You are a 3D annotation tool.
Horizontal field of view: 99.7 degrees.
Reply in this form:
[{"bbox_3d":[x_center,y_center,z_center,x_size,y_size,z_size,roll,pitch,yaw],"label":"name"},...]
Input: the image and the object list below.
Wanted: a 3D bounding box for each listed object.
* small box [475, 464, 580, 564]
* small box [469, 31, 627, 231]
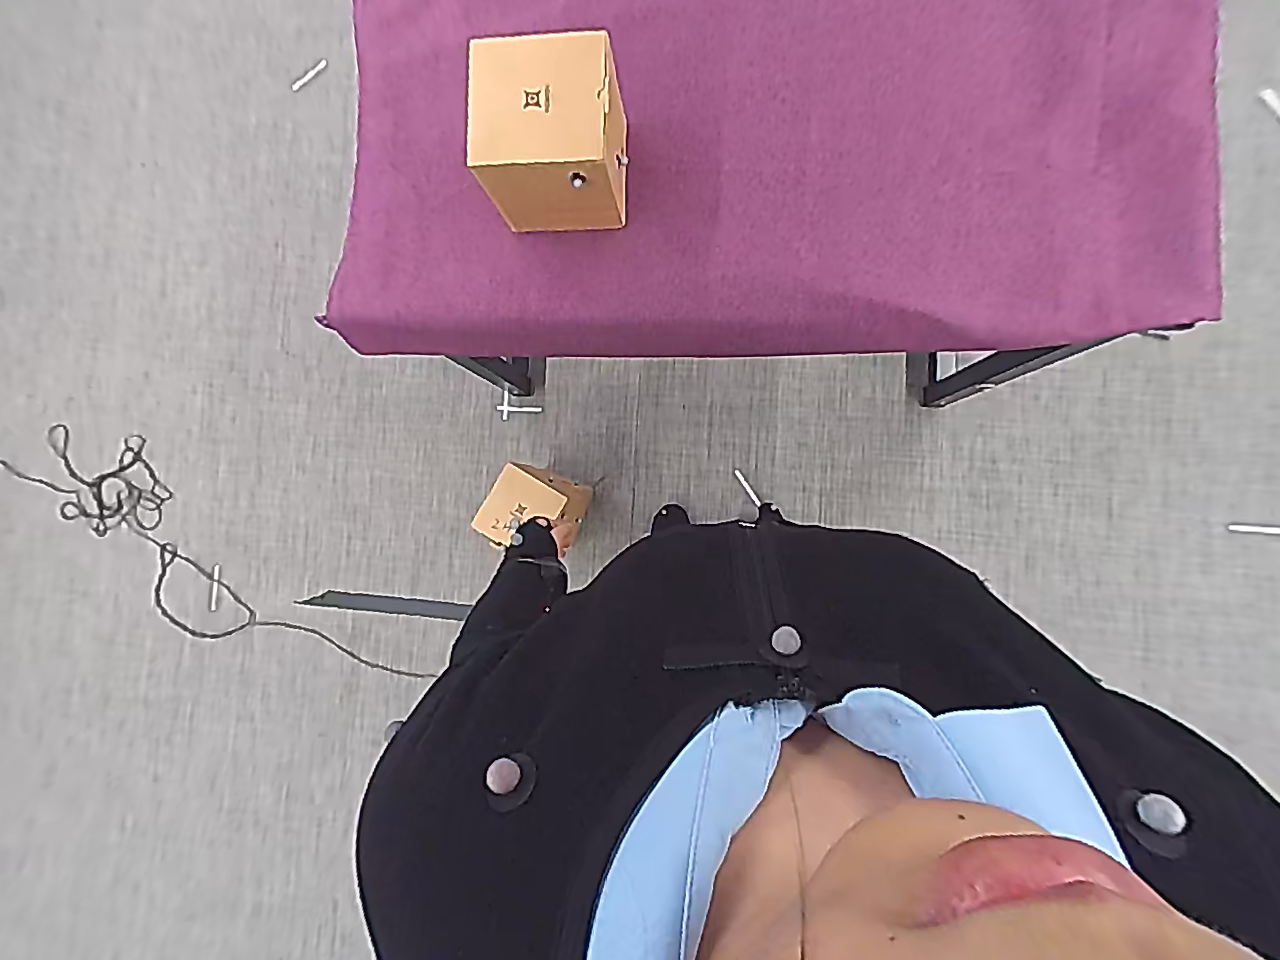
[{"bbox_3d":[-0.260,0.078,1.302,0.168,0.176,0.179,31,92,6],"label":"small box"},{"bbox_3d":[-0.116,-0.462,0.742,0.179,0.176,0.168,0,87,5],"label":"small box"}]
